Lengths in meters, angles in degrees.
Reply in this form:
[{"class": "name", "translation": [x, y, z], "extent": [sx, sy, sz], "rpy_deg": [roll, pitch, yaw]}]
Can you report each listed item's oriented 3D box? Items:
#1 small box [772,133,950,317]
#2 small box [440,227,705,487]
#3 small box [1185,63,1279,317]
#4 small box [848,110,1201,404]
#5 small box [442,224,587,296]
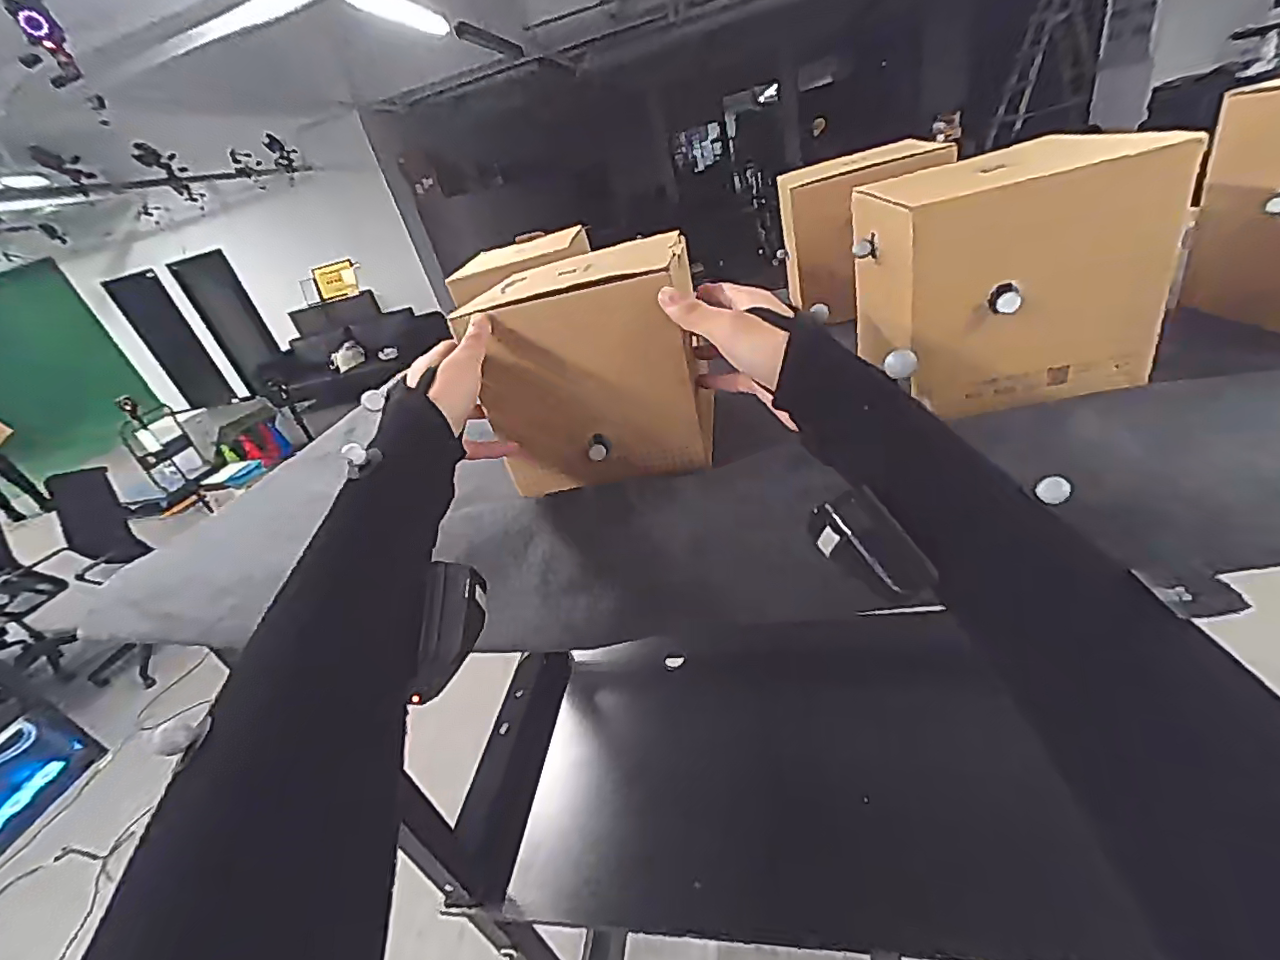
[{"class": "small box", "translation": [0.272, -0.319, 0.685], "extent": [0.179, 0.176, 0.168], "rpy_deg": [-8, 31, 14]}, {"class": "small box", "translation": [-0.038, -0.111, 0.486], "extent": [0.179, 0.176, 0.168], "rpy_deg": [-7, 29, 12]}, {"class": "small box", "translation": [0.539, -0.209, 0.364], "extent": [0.168, 0.176, 0.179], "rpy_deg": [-11, 29, 9]}, {"class": "small box", "translation": [0.277, -0.172, 0.437], "extent": [0.168, 0.176, 0.179], "rpy_deg": [-9, 29, 12]}, {"class": "small box", "translation": [-0.147, -0.247, 0.770], "extent": [0.168, 0.176, 0.179], "rpy_deg": [-12, 30, 9]}]
